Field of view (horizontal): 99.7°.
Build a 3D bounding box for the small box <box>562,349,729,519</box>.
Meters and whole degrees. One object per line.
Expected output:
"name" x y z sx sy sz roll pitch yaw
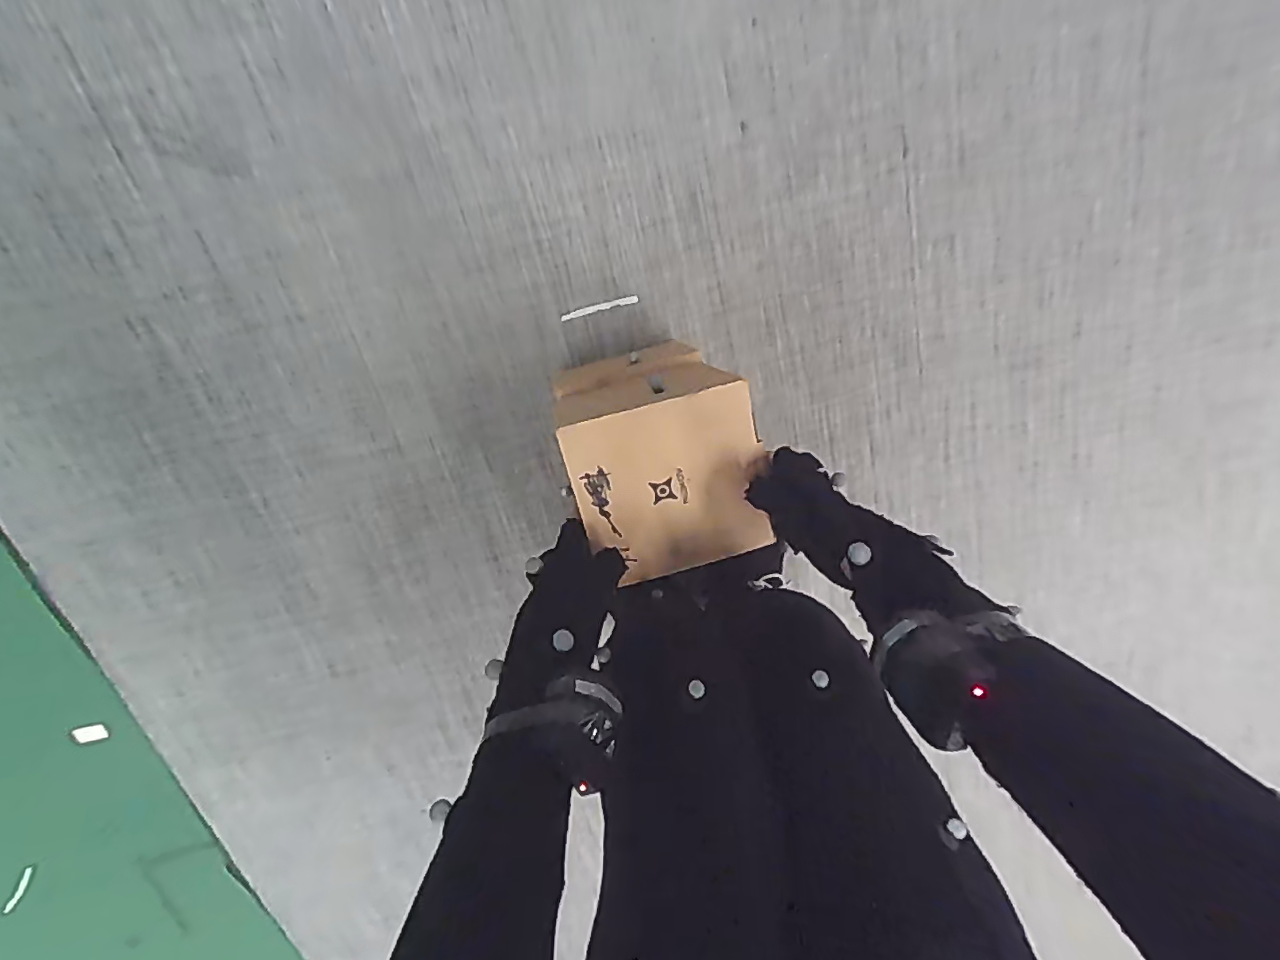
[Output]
"small box" 0.002 -0.072 0.726 0.179 0.176 0.168 -15 109 0
